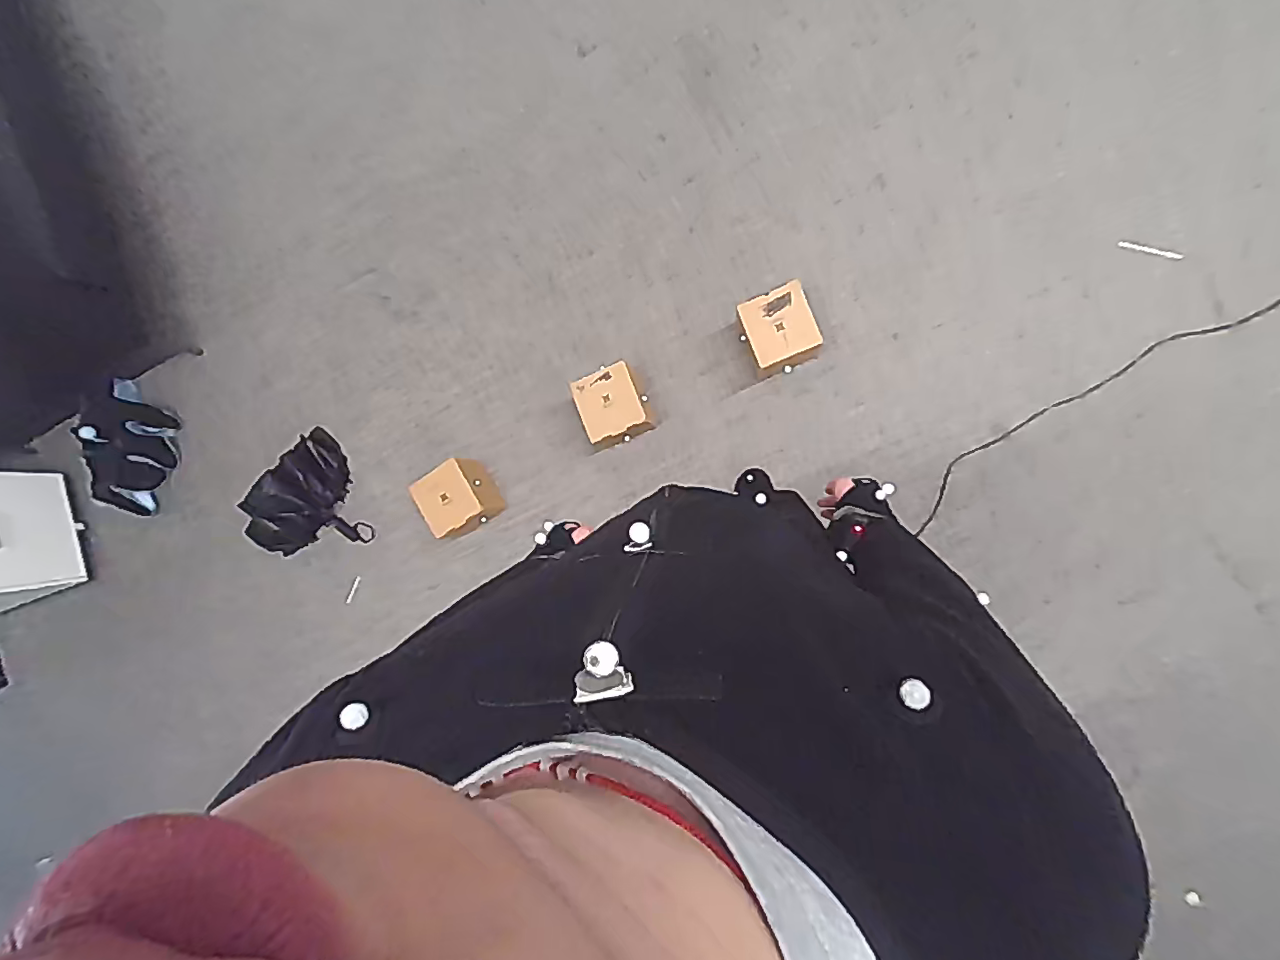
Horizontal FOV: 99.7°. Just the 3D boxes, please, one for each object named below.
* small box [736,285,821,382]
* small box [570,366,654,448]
[{"bbox_3d":[0.360,-0.380,1.437,0.168,0.176,0.179,-22,86,10],"label":"small box"},{"bbox_3d":[-0.072,-0.195,1.517,0.168,0.176,0.179,-22,85,9],"label":"small box"}]
